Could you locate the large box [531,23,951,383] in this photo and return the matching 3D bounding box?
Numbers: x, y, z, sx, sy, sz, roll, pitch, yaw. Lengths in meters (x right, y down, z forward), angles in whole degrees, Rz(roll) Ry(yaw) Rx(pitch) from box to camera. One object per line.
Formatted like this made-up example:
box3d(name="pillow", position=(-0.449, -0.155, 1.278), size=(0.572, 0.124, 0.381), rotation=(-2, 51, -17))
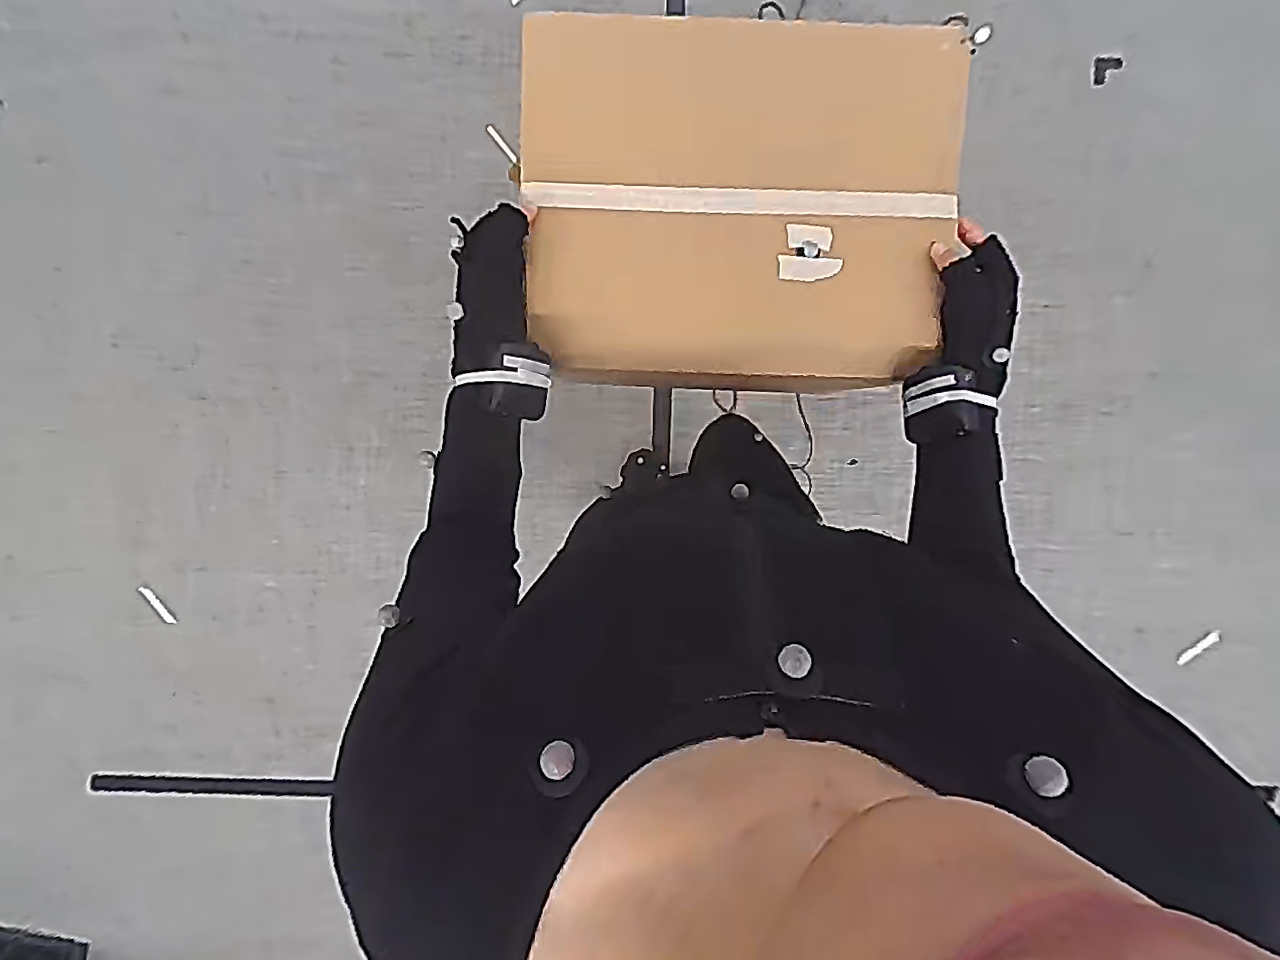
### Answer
box3d(name="large box", position=(0.091, -0.289, 0.671), size=(0.408, 0.320, 0.320), rotation=(2, 97, -1))
